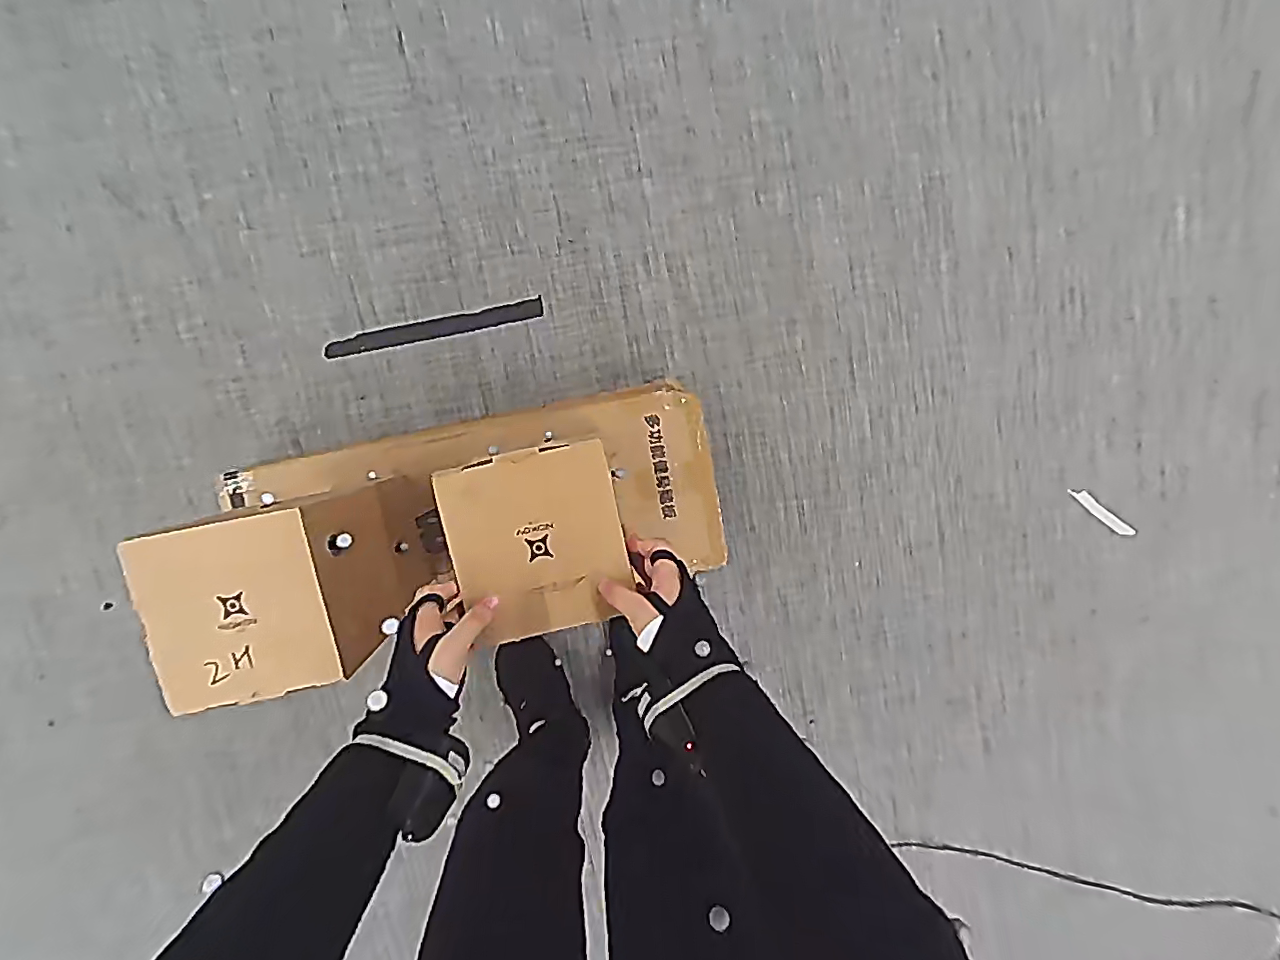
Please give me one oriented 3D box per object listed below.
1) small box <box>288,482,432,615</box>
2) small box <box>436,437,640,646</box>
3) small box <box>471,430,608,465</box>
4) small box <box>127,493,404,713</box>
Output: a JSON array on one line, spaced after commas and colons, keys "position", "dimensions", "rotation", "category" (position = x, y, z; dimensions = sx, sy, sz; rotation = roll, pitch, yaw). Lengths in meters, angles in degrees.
[{"position": [-0.412, 0.105, 0.751], "dimensions": [0.168, 0.176, 0.179], "rotation": [-13, 99, -3], "category": "small box"}, {"position": [-0.101, 0.054, 0.600], "dimensions": [0.168, 0.176, 0.179], "rotation": [-14, 96, -1], "category": "small box"}, {"position": [-0.119, 0.032, 0.765], "dimensions": [0.168, 0.176, 0.179], "rotation": [-11, 98, 0], "category": "small box"}, {"position": [-0.382, 0.115, 0.588], "dimensions": [0.168, 0.176, 0.179], "rotation": [-11, 98, -3], "category": "small box"}]
